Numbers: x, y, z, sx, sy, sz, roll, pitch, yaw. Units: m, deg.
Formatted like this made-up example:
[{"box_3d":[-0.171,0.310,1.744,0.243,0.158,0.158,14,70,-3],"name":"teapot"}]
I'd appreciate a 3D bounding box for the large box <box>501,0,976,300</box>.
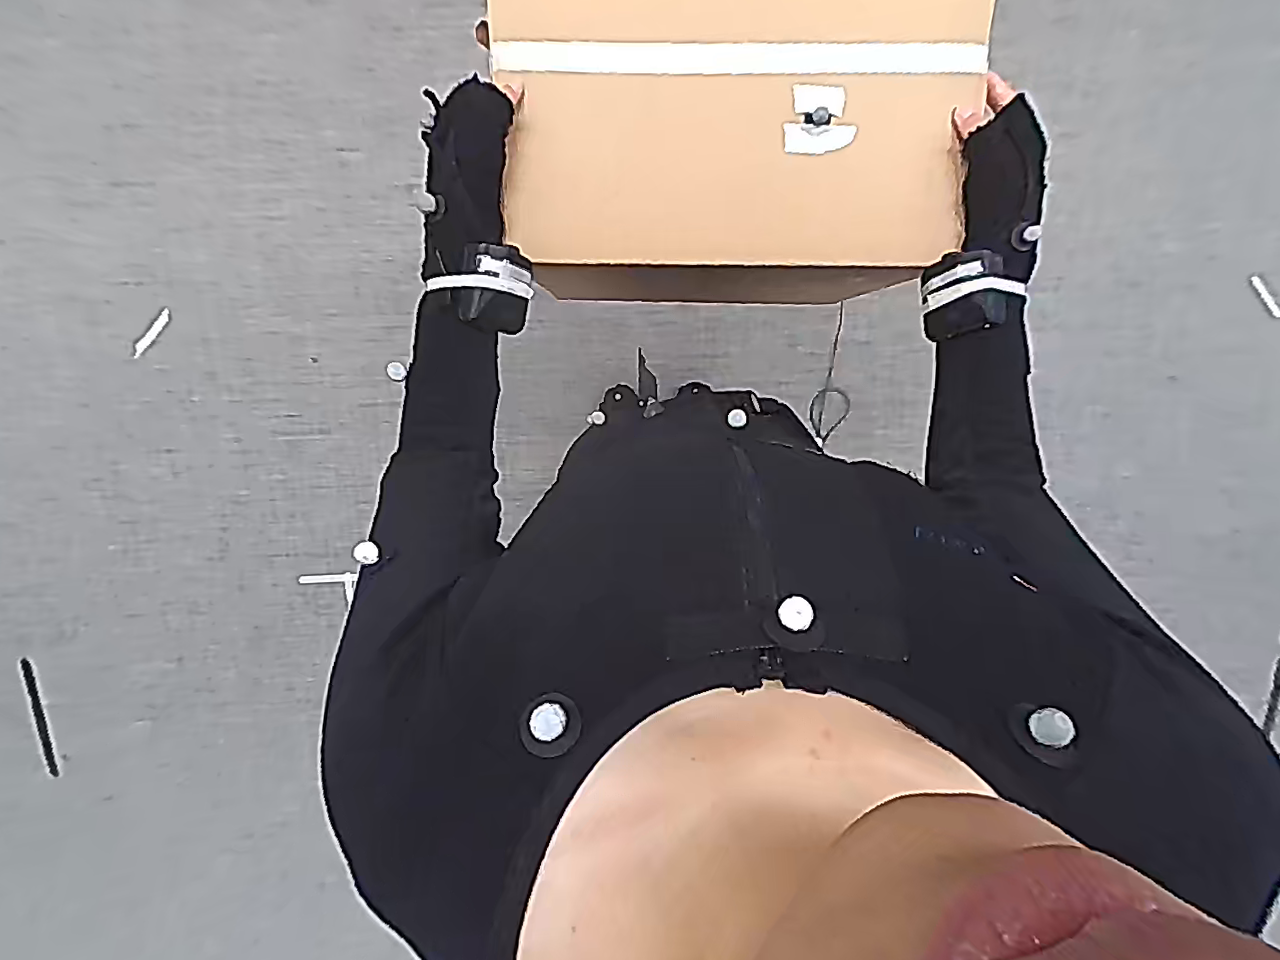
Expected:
[{"box_3d":[0.078,-0.383,0.608,0.408,0.320,0.320,0,103,-1],"name":"large box"}]
